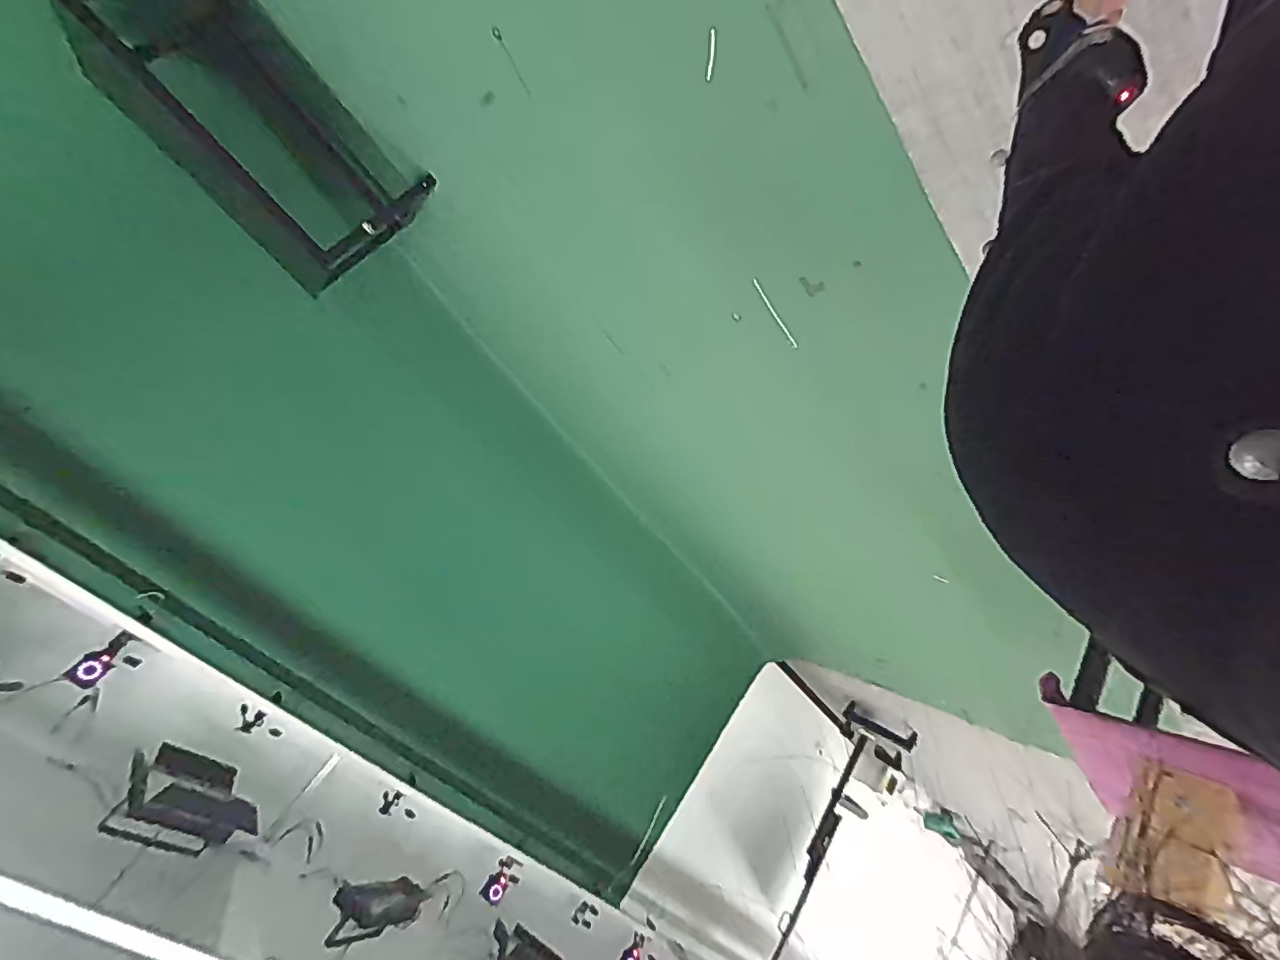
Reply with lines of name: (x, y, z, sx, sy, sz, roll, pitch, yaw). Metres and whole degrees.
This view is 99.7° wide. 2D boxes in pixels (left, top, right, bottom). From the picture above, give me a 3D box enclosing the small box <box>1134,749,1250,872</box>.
small box: (1.344, 0.793, 1.316, 0.179, 0.176, 0.168, 47, 158, -26)
